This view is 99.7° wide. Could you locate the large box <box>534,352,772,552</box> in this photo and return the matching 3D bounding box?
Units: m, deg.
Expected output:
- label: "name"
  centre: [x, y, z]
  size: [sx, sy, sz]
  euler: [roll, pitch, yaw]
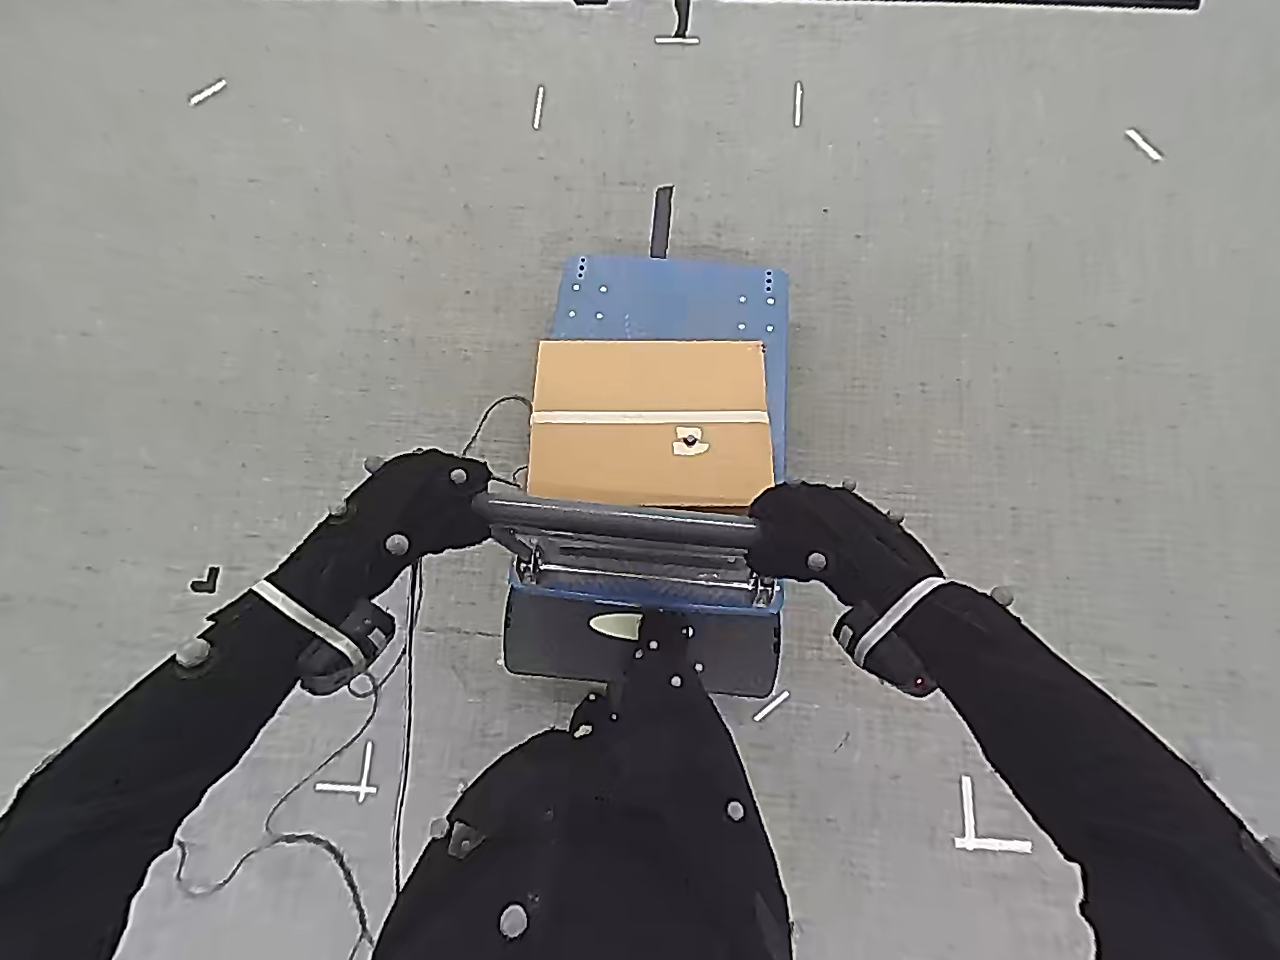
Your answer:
- label: "large box"
  centre: [0.019, -0.040, 1.083]
  size: [0.408, 0.320, 0.320]
  euler: [1, 70, 0]
